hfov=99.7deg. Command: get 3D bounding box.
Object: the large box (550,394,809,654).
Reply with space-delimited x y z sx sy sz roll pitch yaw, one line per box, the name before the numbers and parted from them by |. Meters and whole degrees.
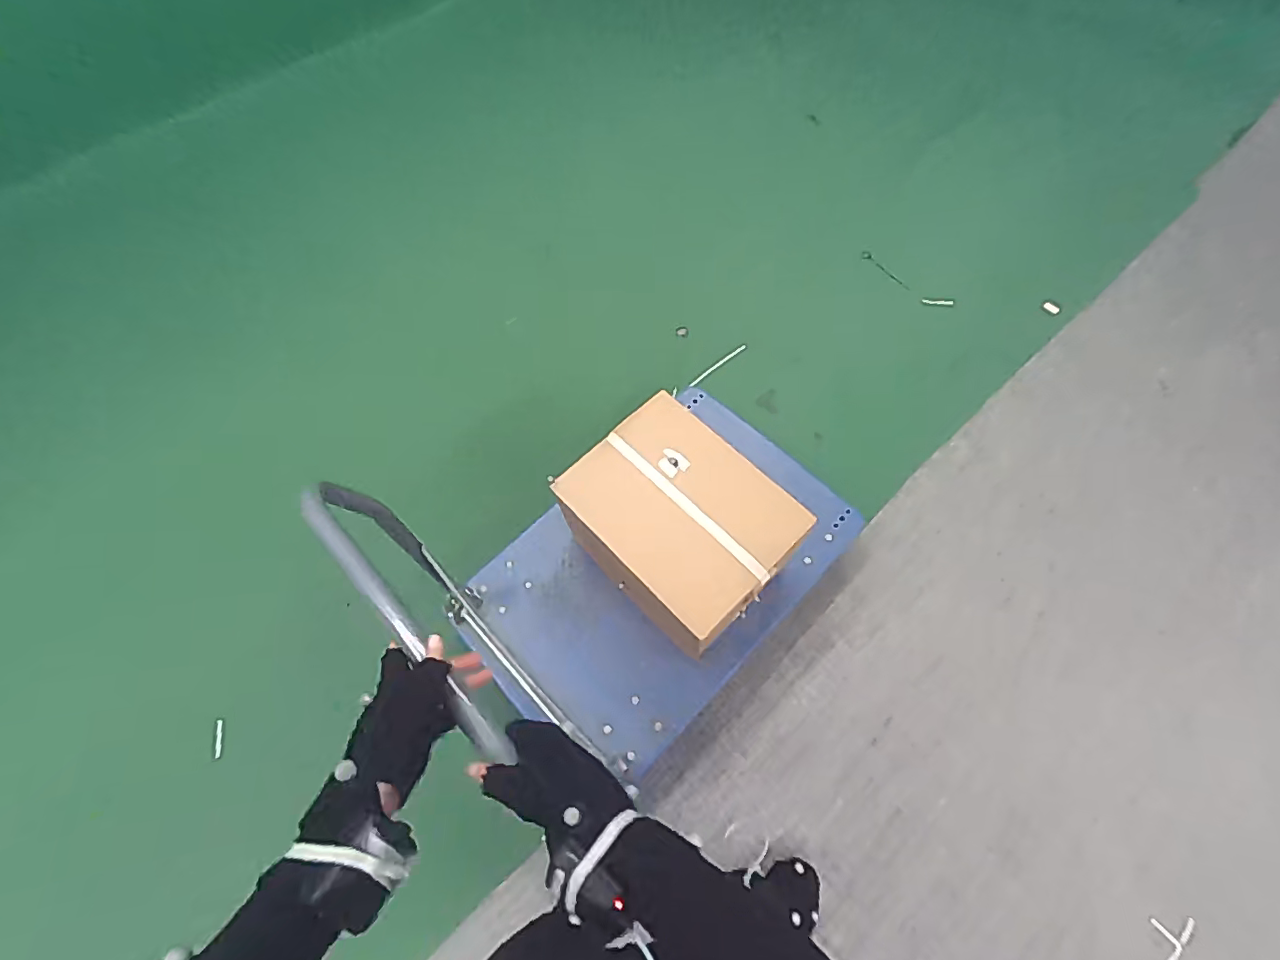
large box | 0.079 0.103 1.155 0.320 0.320 0.408 -41 69 -16
